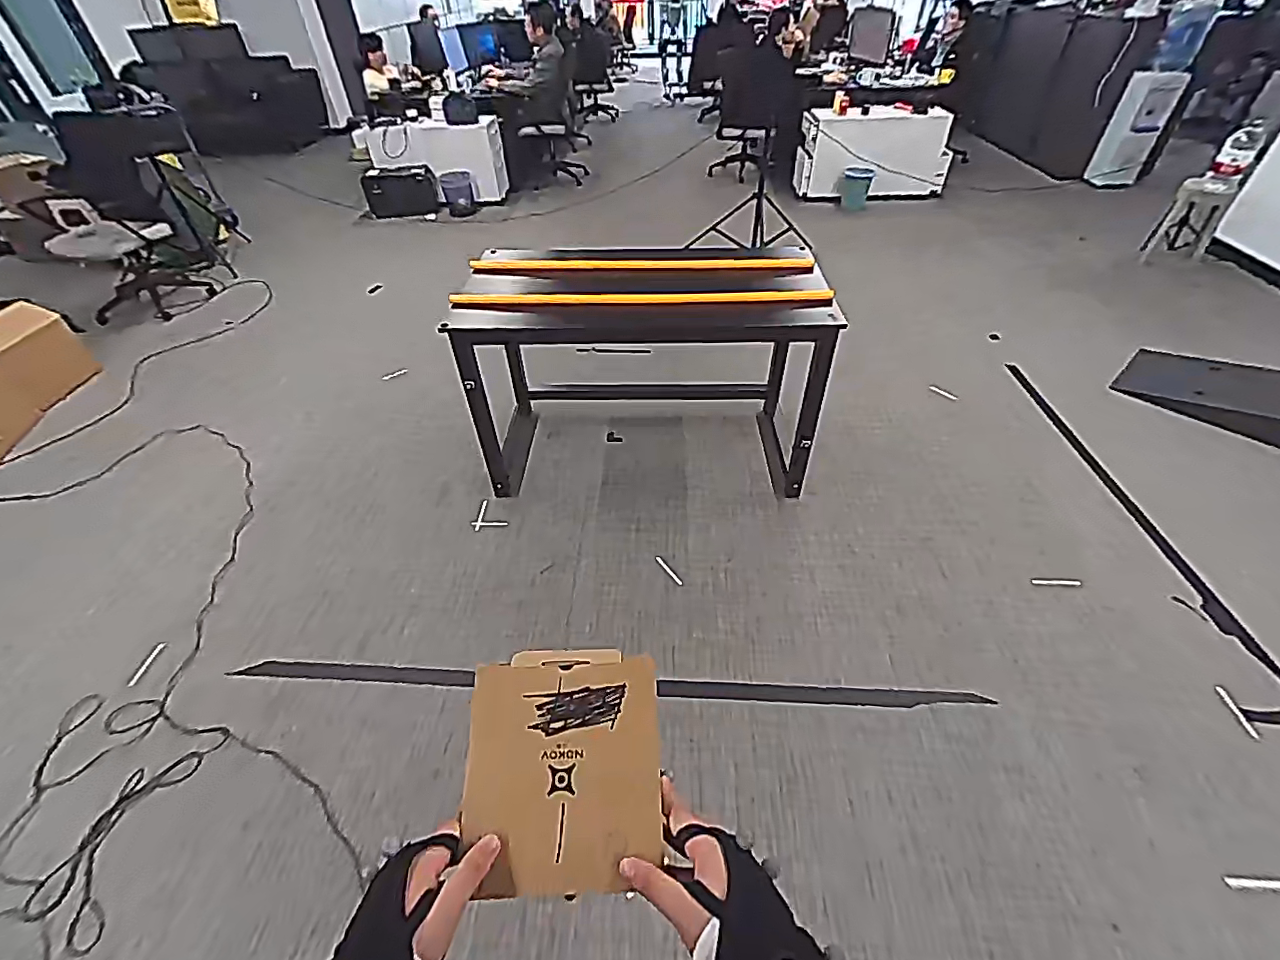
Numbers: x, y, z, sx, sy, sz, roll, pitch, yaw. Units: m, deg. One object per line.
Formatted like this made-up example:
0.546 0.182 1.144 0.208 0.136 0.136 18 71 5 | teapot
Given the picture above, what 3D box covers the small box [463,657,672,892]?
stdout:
-0.058 0.284 0.531 0.168 0.176 0.179 -2 60 0 | small box
